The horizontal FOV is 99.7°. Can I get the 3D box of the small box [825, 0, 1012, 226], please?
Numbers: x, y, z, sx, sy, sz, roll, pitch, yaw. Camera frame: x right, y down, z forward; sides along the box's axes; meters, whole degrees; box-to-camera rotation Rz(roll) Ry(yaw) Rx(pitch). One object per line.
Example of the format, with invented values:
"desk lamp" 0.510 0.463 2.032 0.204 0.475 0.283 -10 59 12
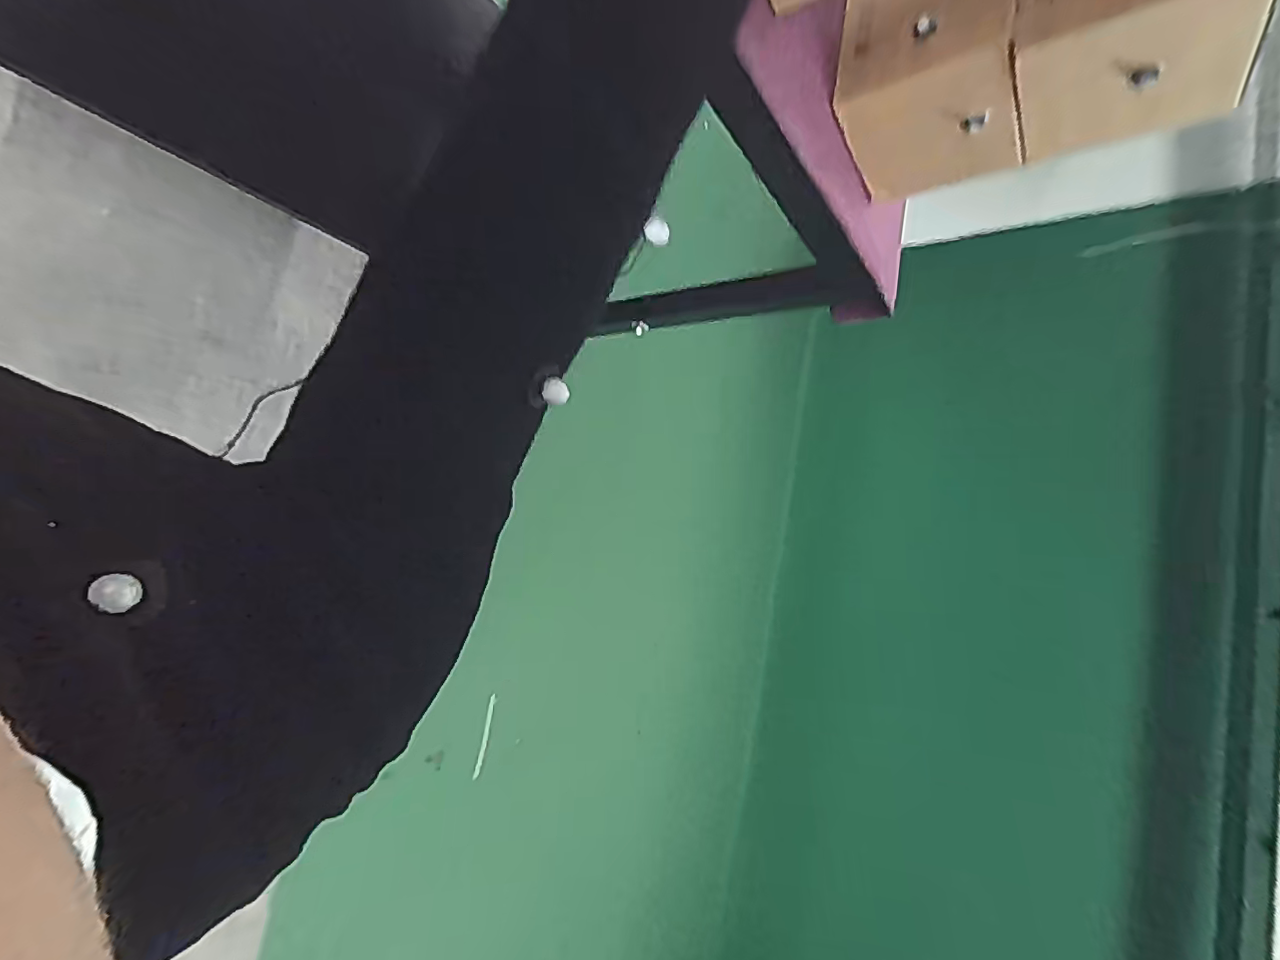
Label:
"small box" 0.322 -0.419 0.613 0.179 0.176 0.168 26 74 -52
